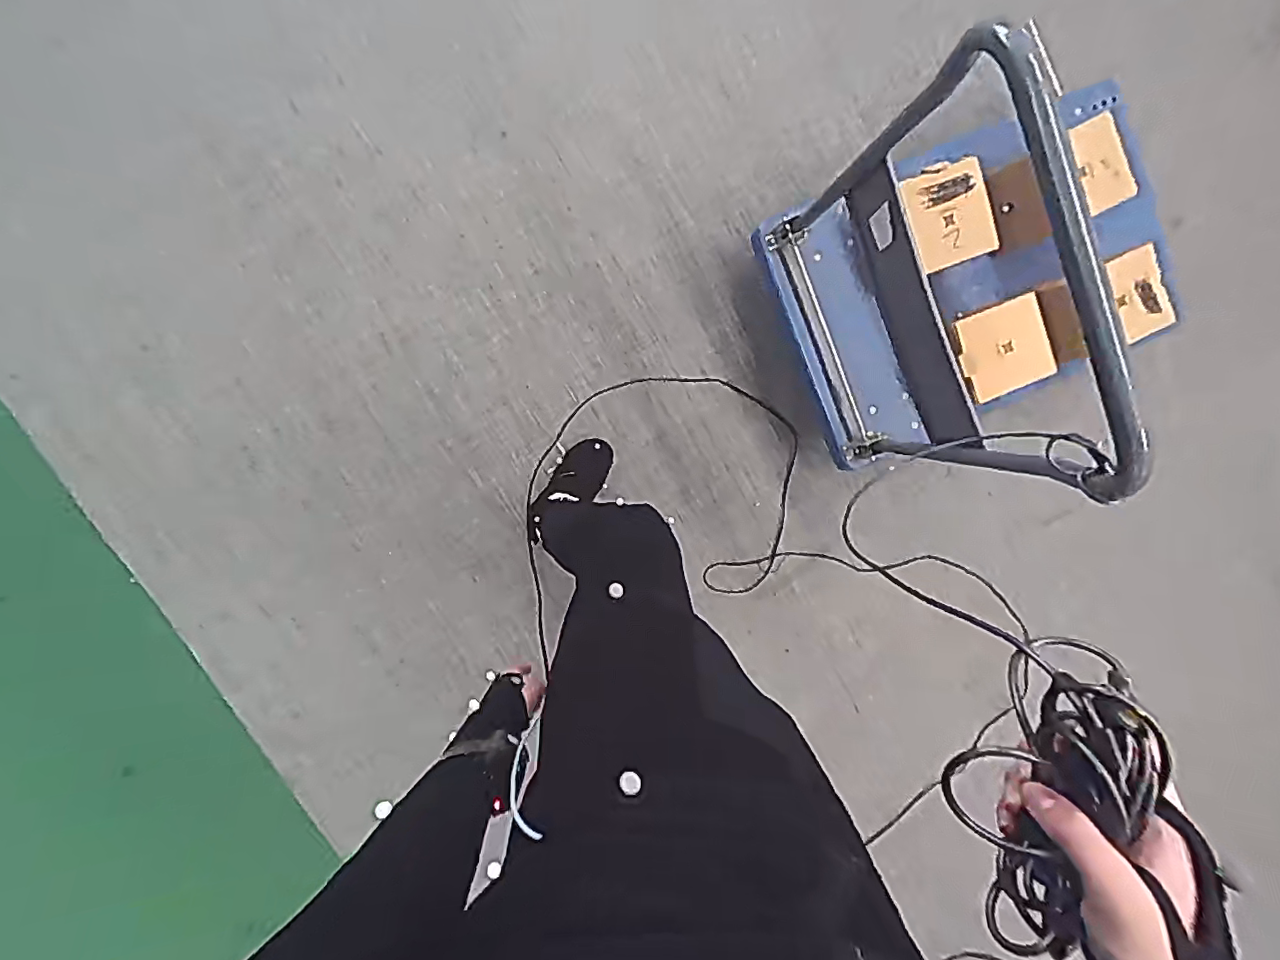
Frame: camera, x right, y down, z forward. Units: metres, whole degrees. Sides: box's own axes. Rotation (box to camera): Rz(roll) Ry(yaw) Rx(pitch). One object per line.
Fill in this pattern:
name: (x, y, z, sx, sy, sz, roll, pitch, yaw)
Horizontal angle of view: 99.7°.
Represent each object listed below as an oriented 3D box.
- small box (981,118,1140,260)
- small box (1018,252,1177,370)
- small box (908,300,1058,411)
small box: (0.831, -0.573, 1.092, 0.179, 0.176, 0.168, -27, 98, -3)
small box: (0.935, -0.340, 1.123, 0.179, 0.176, 0.168, -25, 96, -2)
small box: (0.695, -0.247, 1.112, 0.179, 0.176, 0.168, -22, 97, -2)
